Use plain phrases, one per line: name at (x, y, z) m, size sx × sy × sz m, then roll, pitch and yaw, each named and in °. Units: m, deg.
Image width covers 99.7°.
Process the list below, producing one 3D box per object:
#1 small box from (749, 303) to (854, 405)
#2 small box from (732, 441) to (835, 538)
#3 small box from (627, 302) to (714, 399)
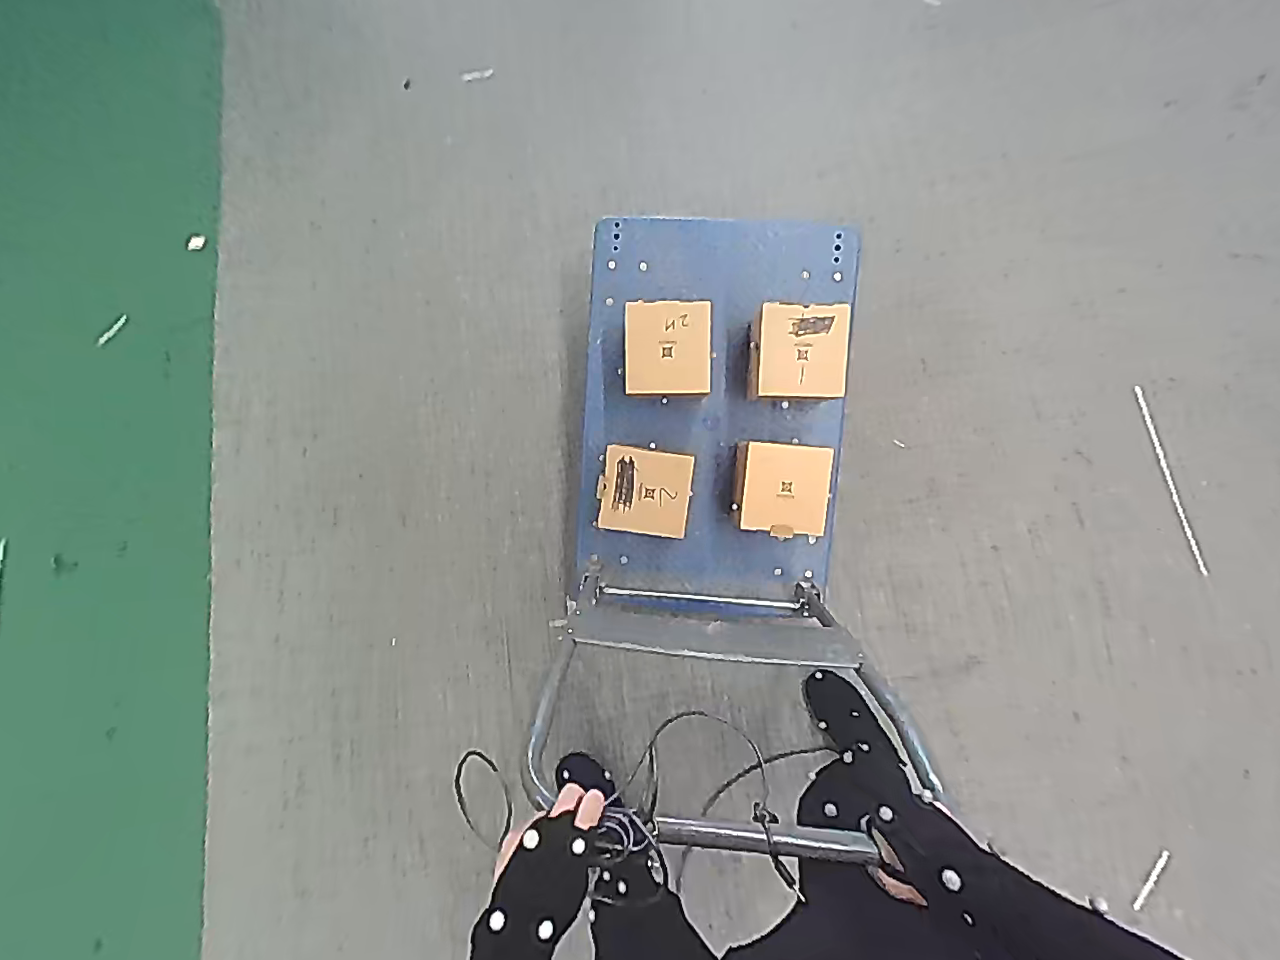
small box at (0.319, -0.250, 1.101) m, size 0.168 × 0.176 × 0.179 m, roll 3°, pitch 96°, yaw 3°
small box at (0.289, 0.013, 1.126) m, size 0.168 × 0.176 × 0.179 m, roll 6°, pitch 96°, yaw 3°
small box at (0.062, -0.260, 1.115) m, size 0.168 × 0.176 × 0.179 m, roll 1°, pitch 95°, yaw 2°
